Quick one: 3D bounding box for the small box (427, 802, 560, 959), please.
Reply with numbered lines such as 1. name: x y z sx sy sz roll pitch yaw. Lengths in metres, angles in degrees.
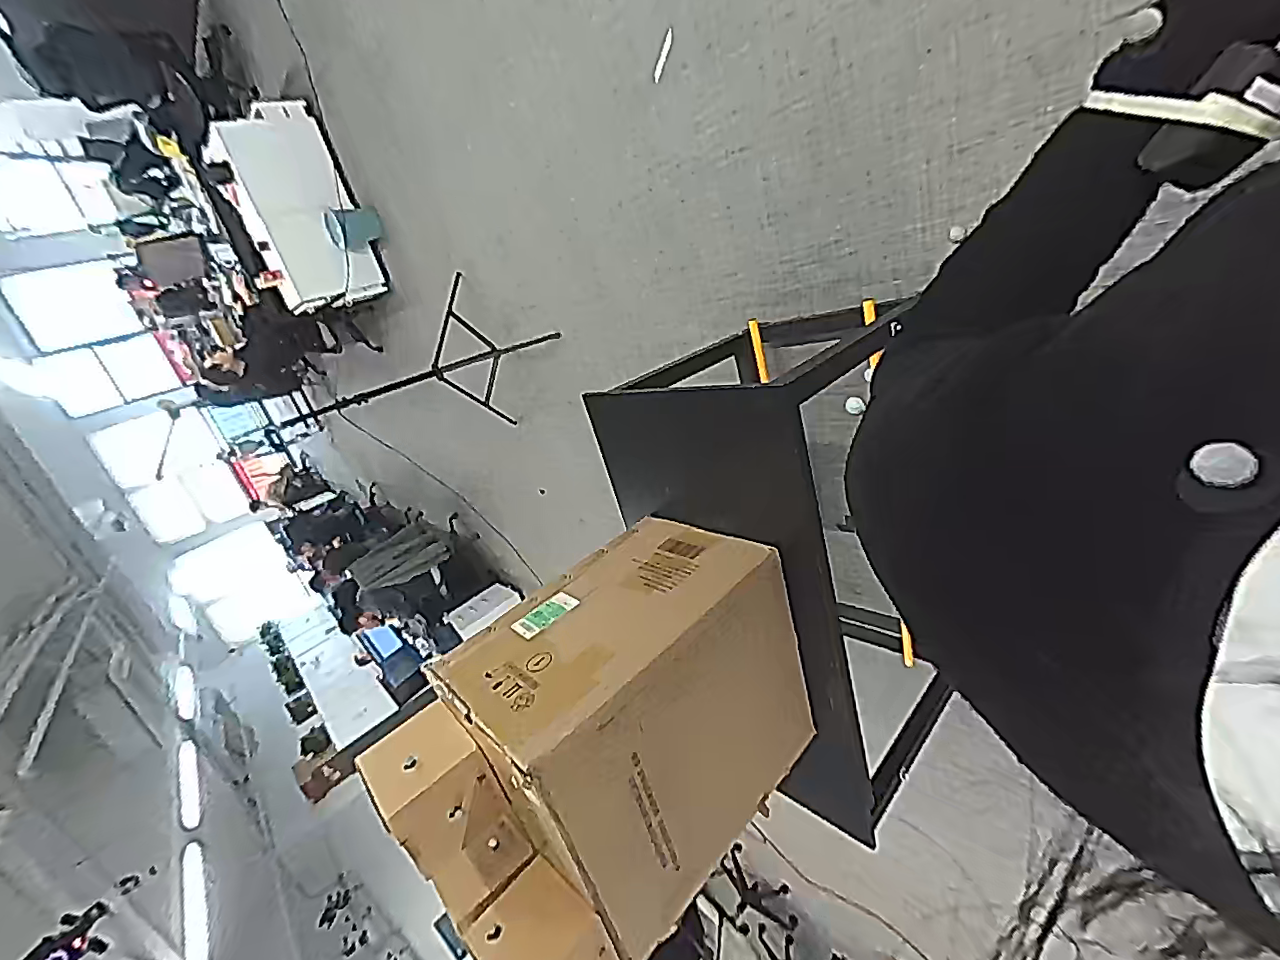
1. small box: -0.279 0.785 1.052 0.168 0.176 0.179 10 122 49
